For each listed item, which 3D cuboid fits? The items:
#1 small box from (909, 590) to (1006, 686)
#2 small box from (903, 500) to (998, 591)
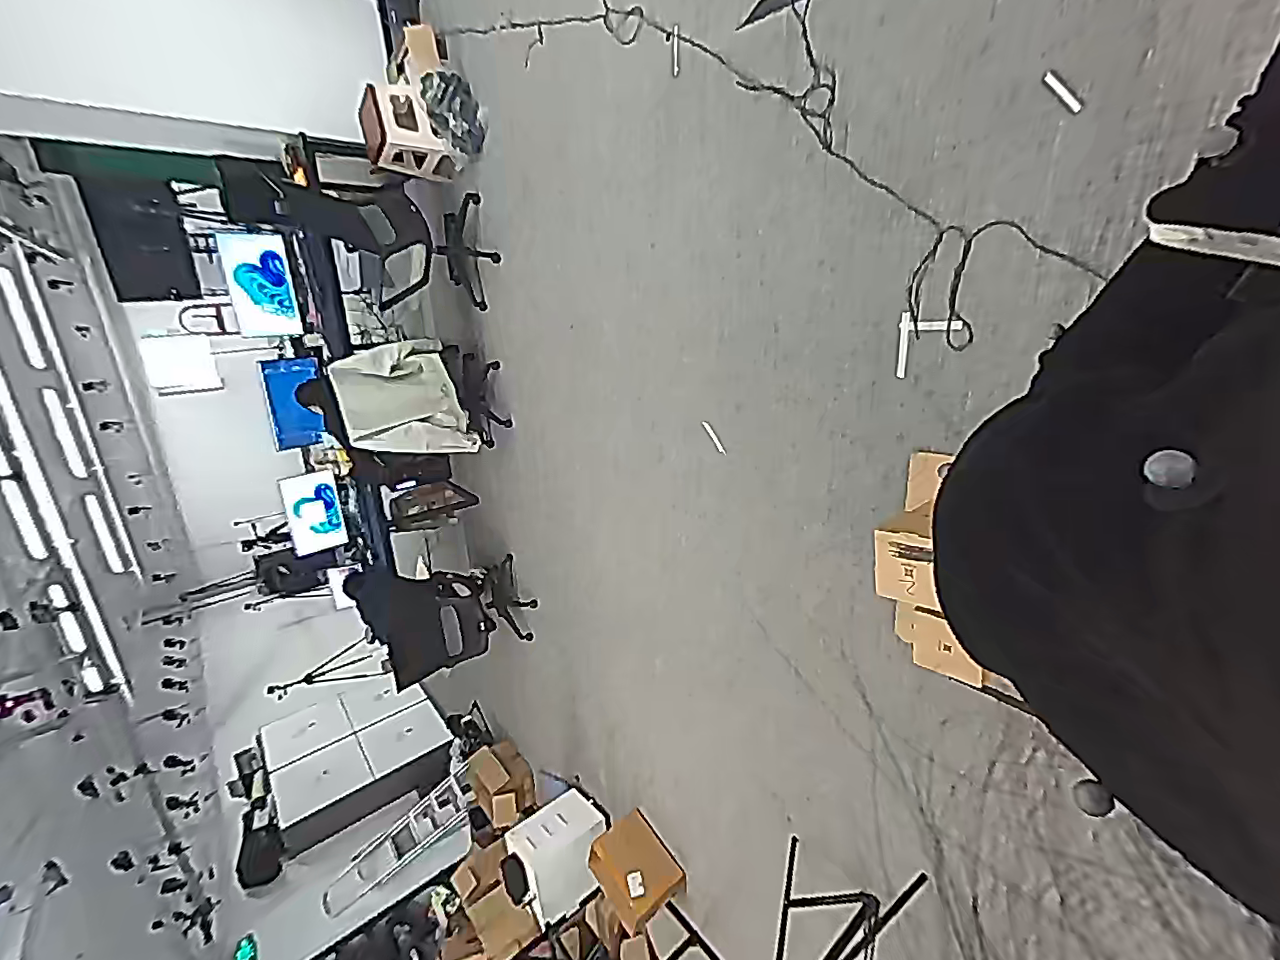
[{"bbox_3d":[0.848,0.412,1.447,0.179,0.176,0.168,10,113,49],"label":"small box"},{"bbox_3d":[0.805,0.159,1.401,0.168,0.176,0.179,12,112,50],"label":"small box"}]
